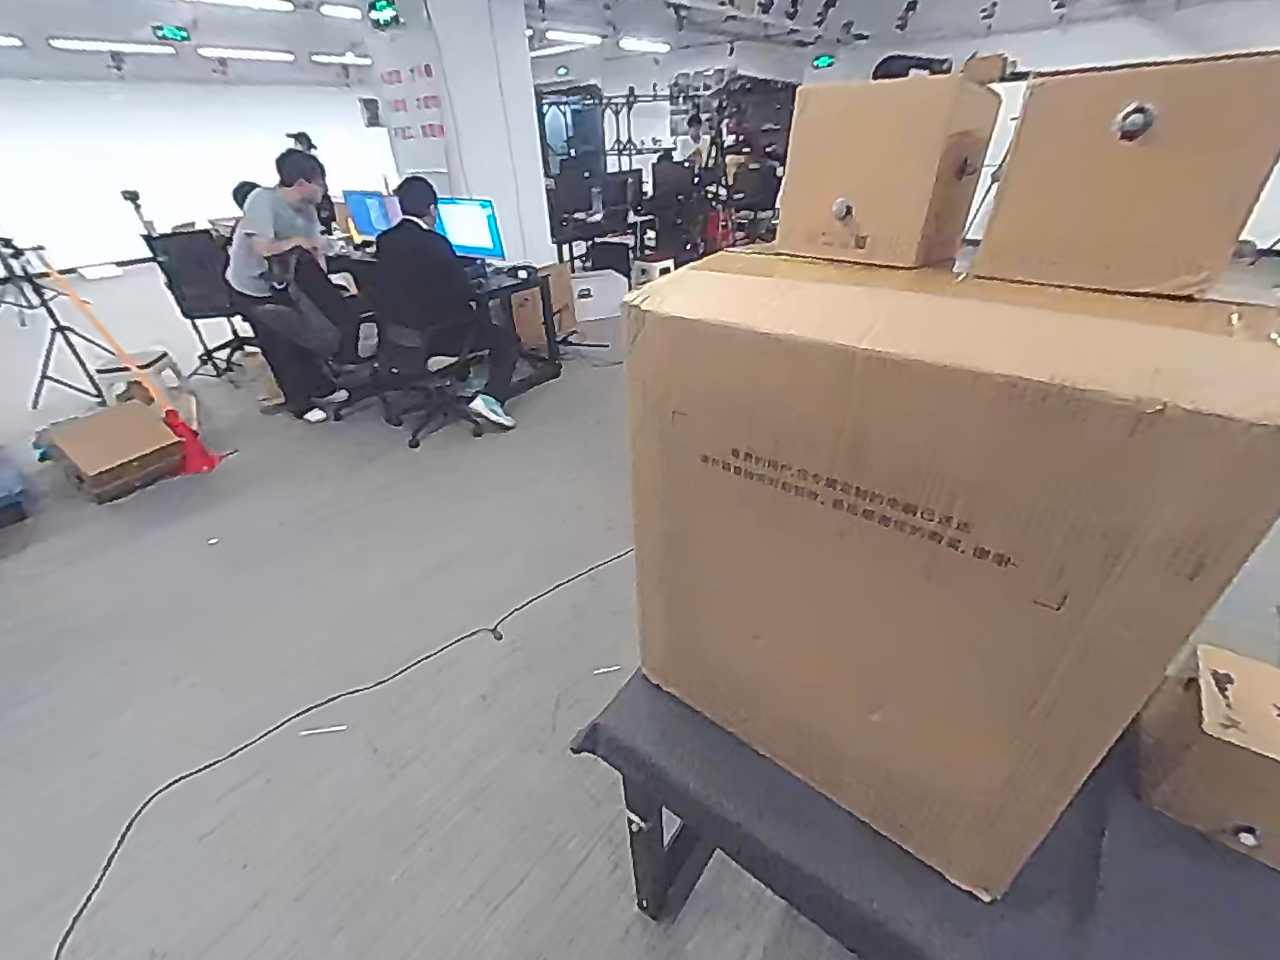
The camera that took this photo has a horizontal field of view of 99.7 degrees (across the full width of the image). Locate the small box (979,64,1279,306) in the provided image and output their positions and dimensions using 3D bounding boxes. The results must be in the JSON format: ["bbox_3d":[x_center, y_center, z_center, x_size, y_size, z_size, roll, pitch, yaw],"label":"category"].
[{"bbox_3d":[0.451,-0.267,0.508,0.179,0.176,0.168,24,37,33],"label":"small box"}]

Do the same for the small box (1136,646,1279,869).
[{"bbox_3d":[0.786,0.357,0.692,0.179,0.176,0.168,20,39,33],"label":"small box"}]
